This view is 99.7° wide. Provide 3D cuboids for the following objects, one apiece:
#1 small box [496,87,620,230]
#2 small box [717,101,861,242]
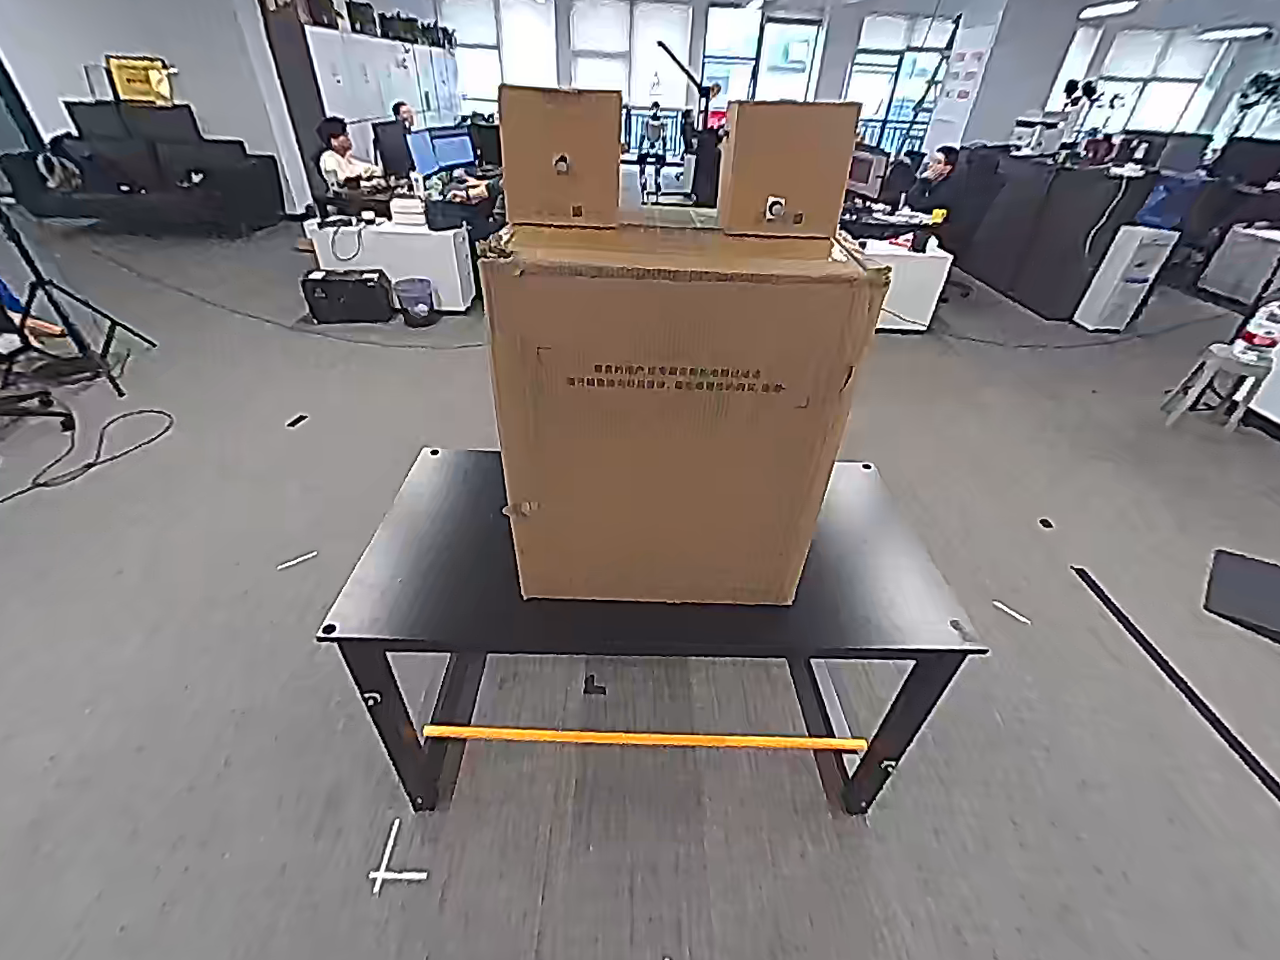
[{"bbox_3d":[-0.116,-0.486,0.820,0.168,0.176,0.179,0,36,-6],"label":"small box"},{"bbox_3d":[0.211,-0.471,0.824,0.168,0.176,0.179,1,35,2],"label":"small box"}]
